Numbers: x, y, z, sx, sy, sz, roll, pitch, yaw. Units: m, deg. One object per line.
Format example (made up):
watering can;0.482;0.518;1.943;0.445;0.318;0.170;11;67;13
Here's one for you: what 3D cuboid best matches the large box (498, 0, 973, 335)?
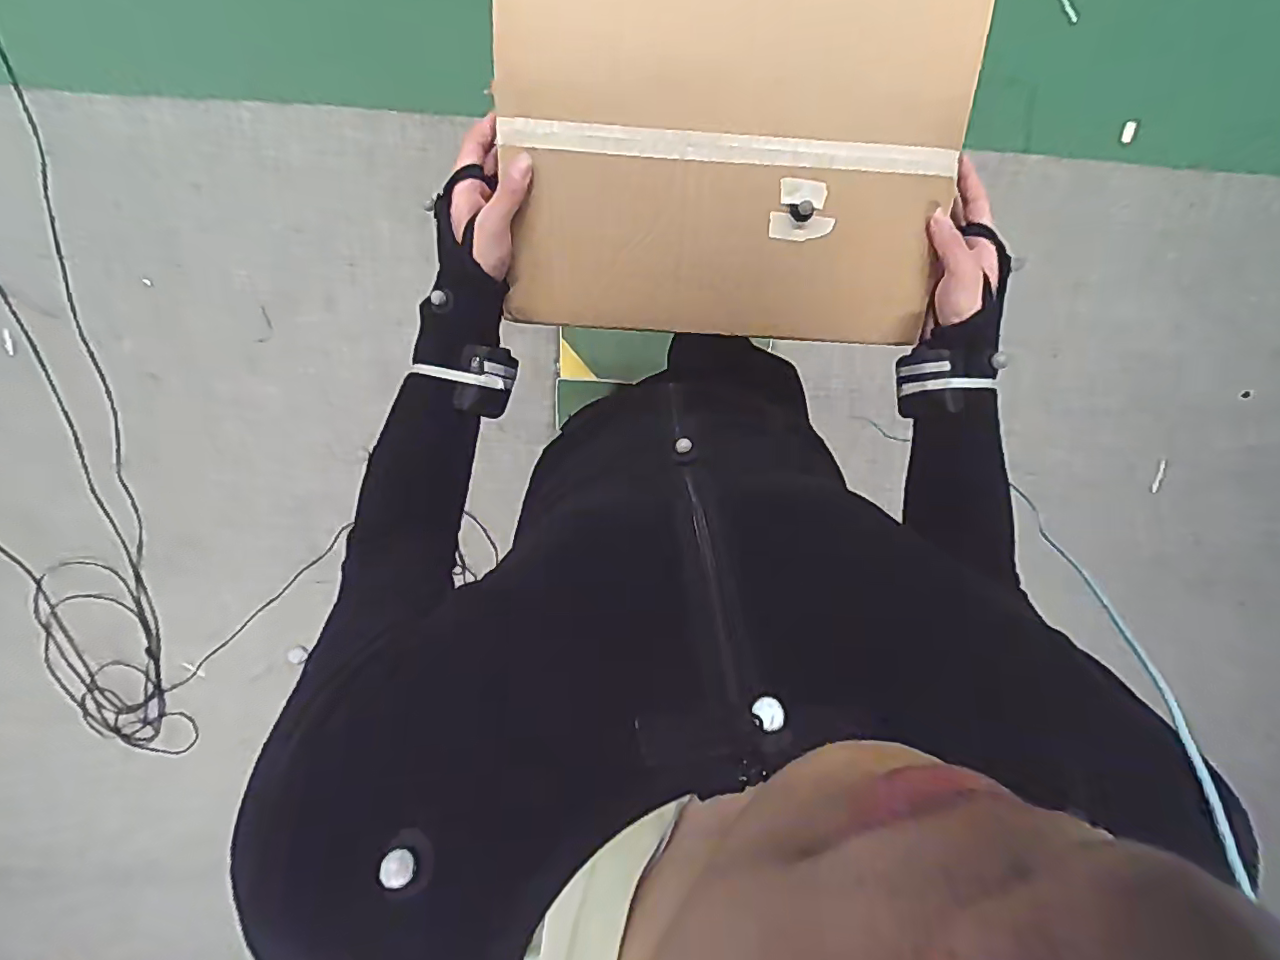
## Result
large box;0.070;-0.343;0.624;0.408;0.320;0.320;2;110;-3
